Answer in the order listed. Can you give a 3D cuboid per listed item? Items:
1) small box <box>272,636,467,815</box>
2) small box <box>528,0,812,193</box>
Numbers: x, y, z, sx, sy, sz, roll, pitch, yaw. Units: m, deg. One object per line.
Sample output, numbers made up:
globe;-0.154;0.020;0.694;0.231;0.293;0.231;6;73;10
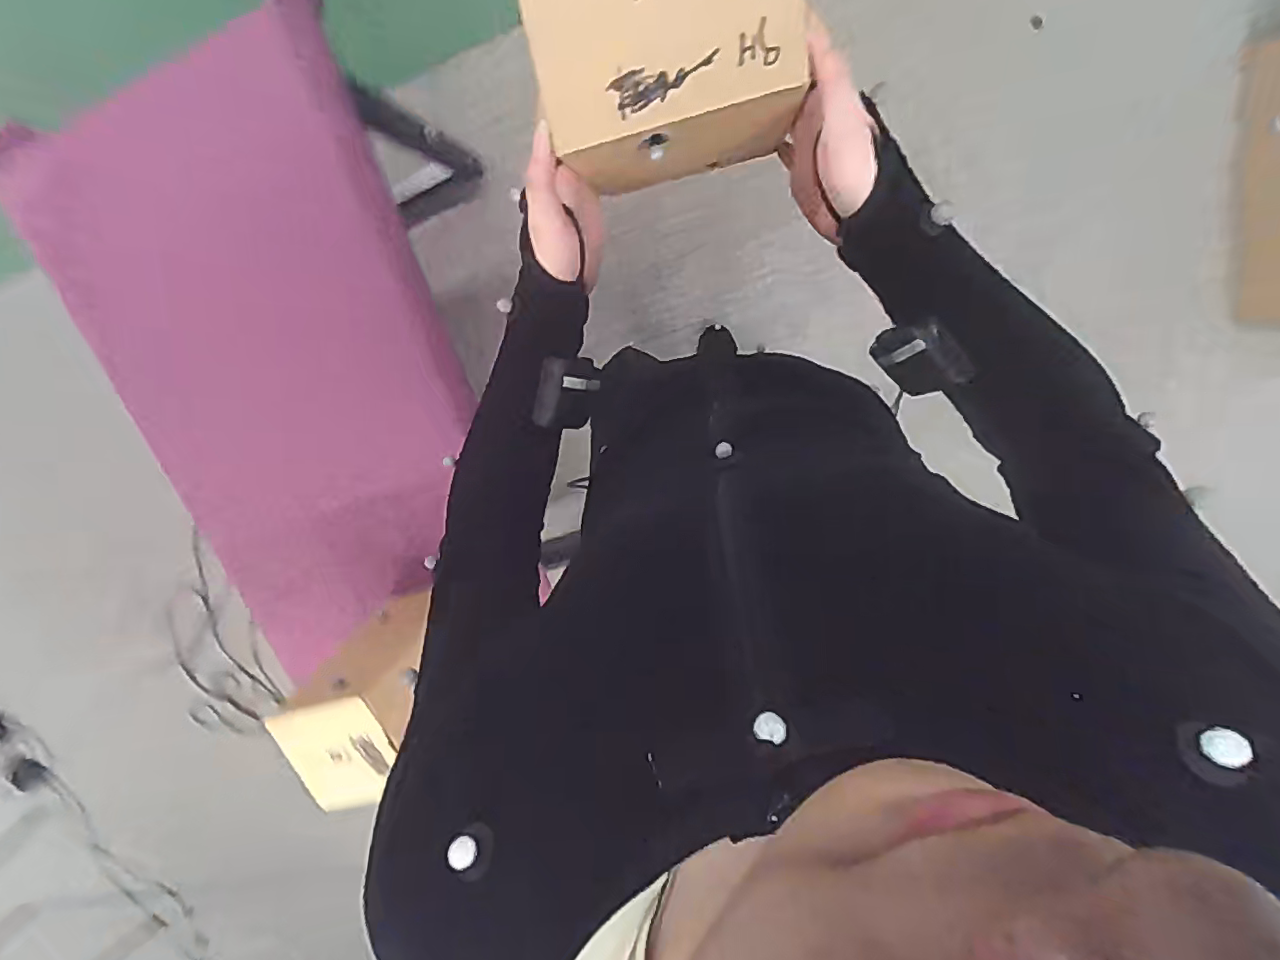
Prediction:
small box;-0.387;0.359;0.814;0.179;0.176;0.168;-18;105;15
small box;0.020;-0.333;0.390;0.168;0.176;0.179;-8;107;11
